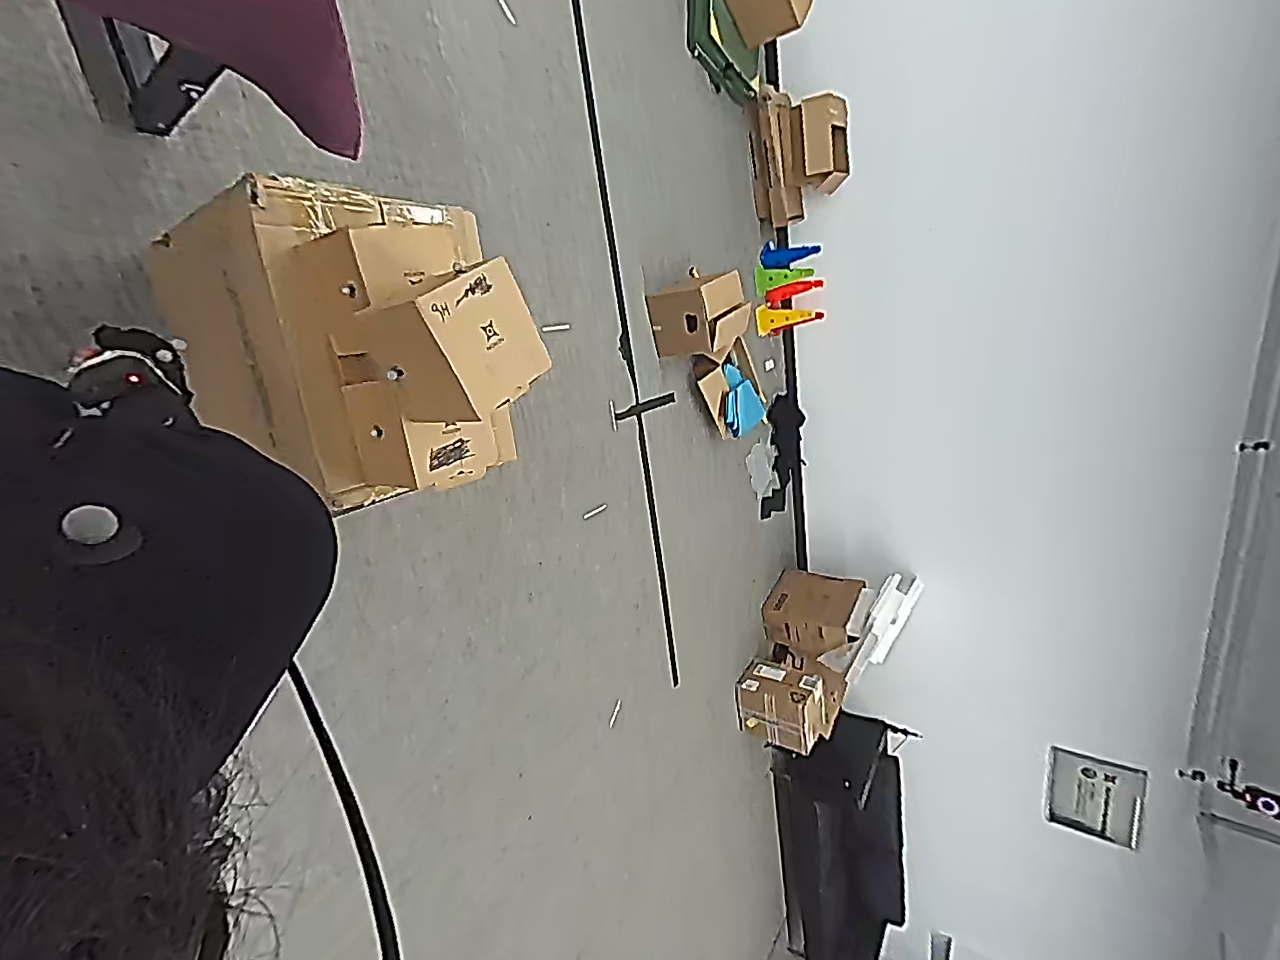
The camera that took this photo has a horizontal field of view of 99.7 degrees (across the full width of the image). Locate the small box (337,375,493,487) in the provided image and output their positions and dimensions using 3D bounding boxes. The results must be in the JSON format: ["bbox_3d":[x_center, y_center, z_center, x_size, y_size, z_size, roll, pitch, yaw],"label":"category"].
[{"bbox_3d":[-0.385,-0.096,0.928,0.168,0.176,0.179,-25,111,-50],"label":"small box"}]

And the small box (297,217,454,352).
[{"bbox_3d":[-0.413,-0.310,0.870,0.168,0.176,0.179,-31,120,-47],"label":"small box"}]

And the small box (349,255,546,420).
[{"bbox_3d":[-0.276,-0.204,0.790,0.168,0.176,0.179,-50,131,-39],"label":"small box"}]
